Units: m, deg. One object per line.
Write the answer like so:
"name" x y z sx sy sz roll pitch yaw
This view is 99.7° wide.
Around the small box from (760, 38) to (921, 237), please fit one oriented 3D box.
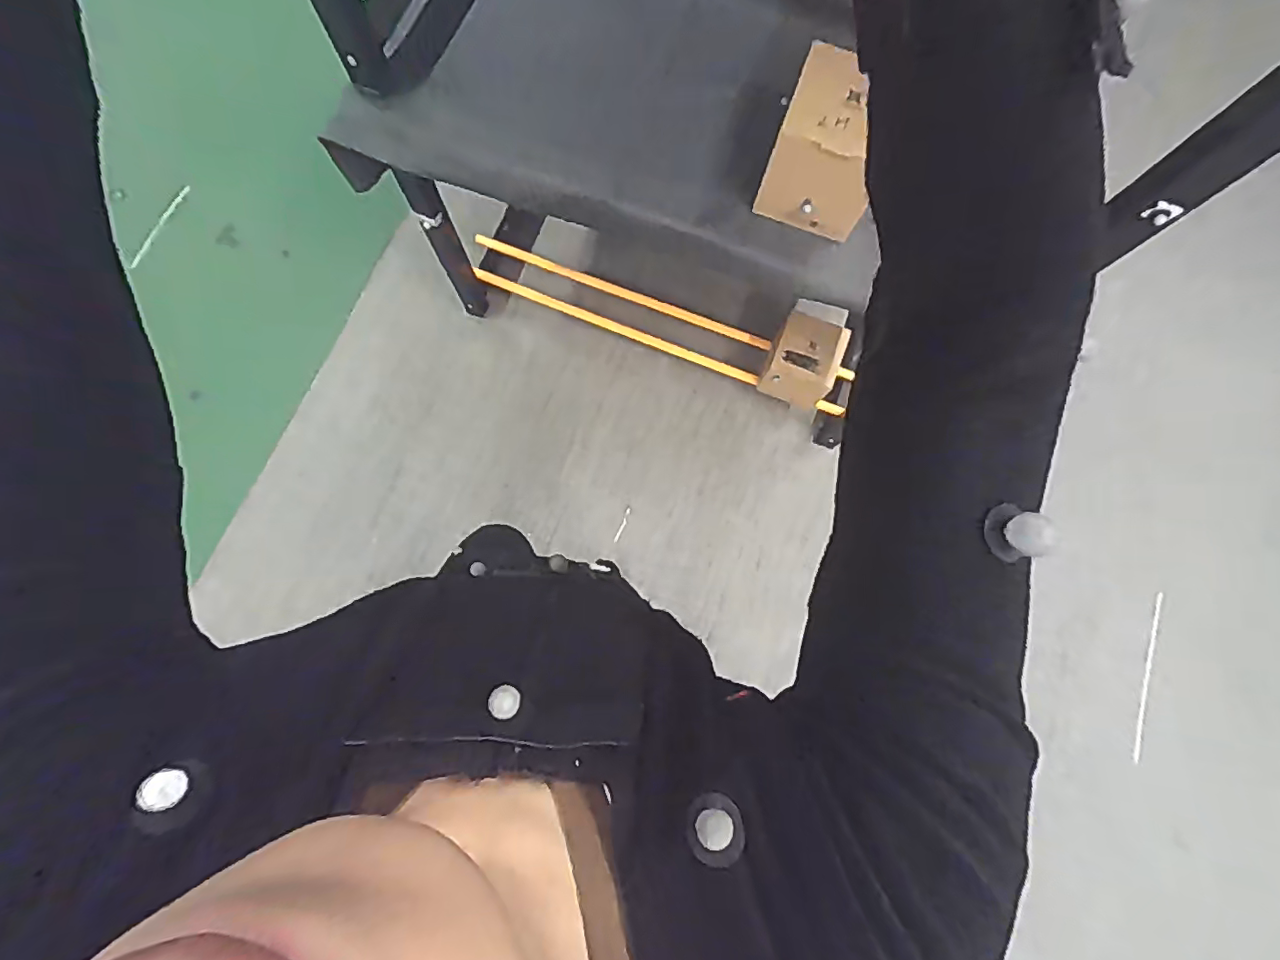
"small box" 0.303 -0.527 0.850 0.168 0.176 0.179 20 76 3
